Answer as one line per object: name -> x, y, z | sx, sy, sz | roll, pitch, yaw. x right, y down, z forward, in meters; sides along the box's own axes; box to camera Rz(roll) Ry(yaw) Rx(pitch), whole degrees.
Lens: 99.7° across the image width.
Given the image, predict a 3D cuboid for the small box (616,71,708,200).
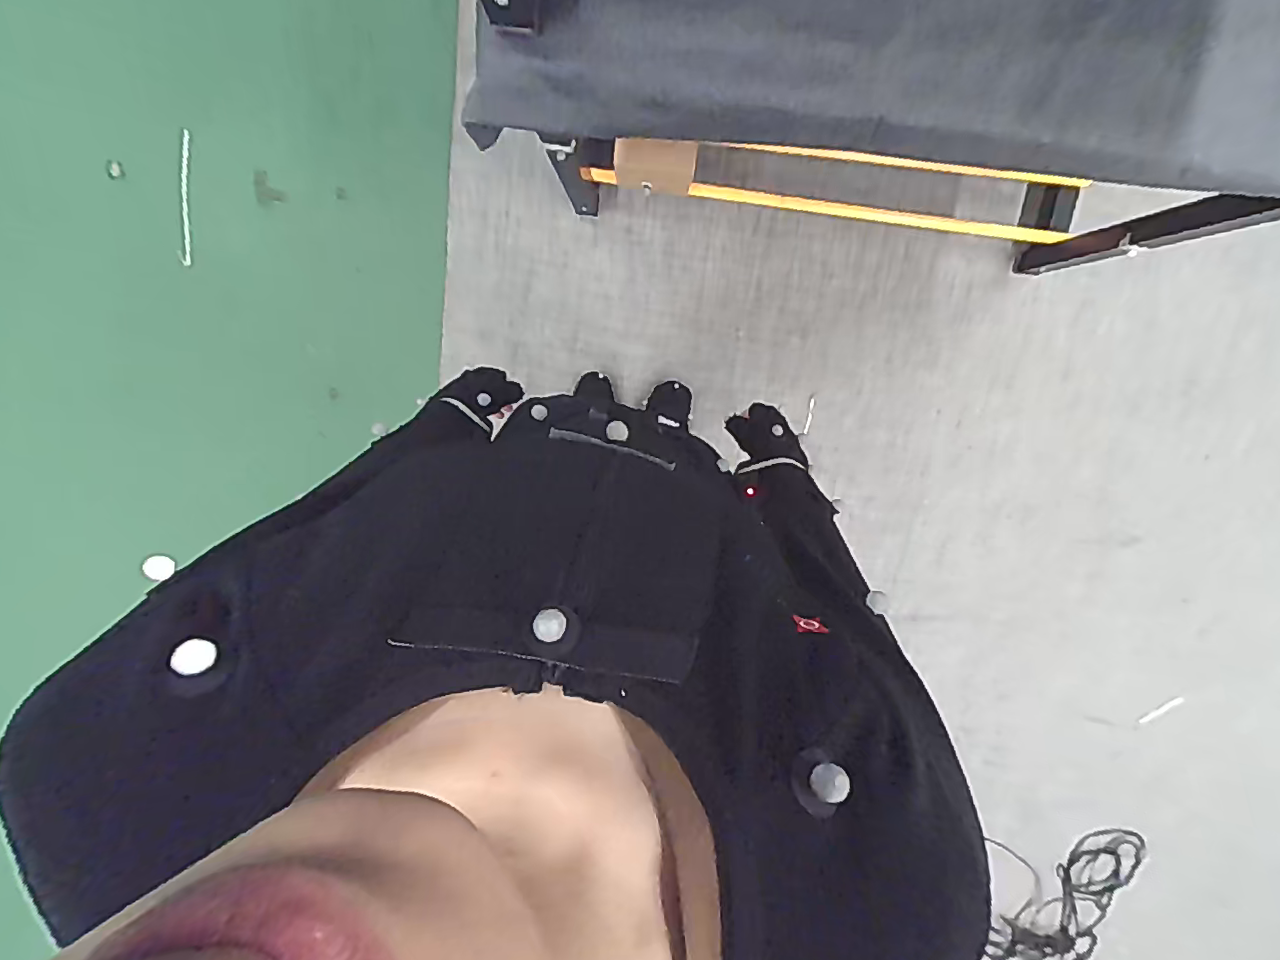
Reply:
small box -> 0.041, -0.720, 1.149 | 0.168, 0.176, 0.179 | 6, 103, -1
